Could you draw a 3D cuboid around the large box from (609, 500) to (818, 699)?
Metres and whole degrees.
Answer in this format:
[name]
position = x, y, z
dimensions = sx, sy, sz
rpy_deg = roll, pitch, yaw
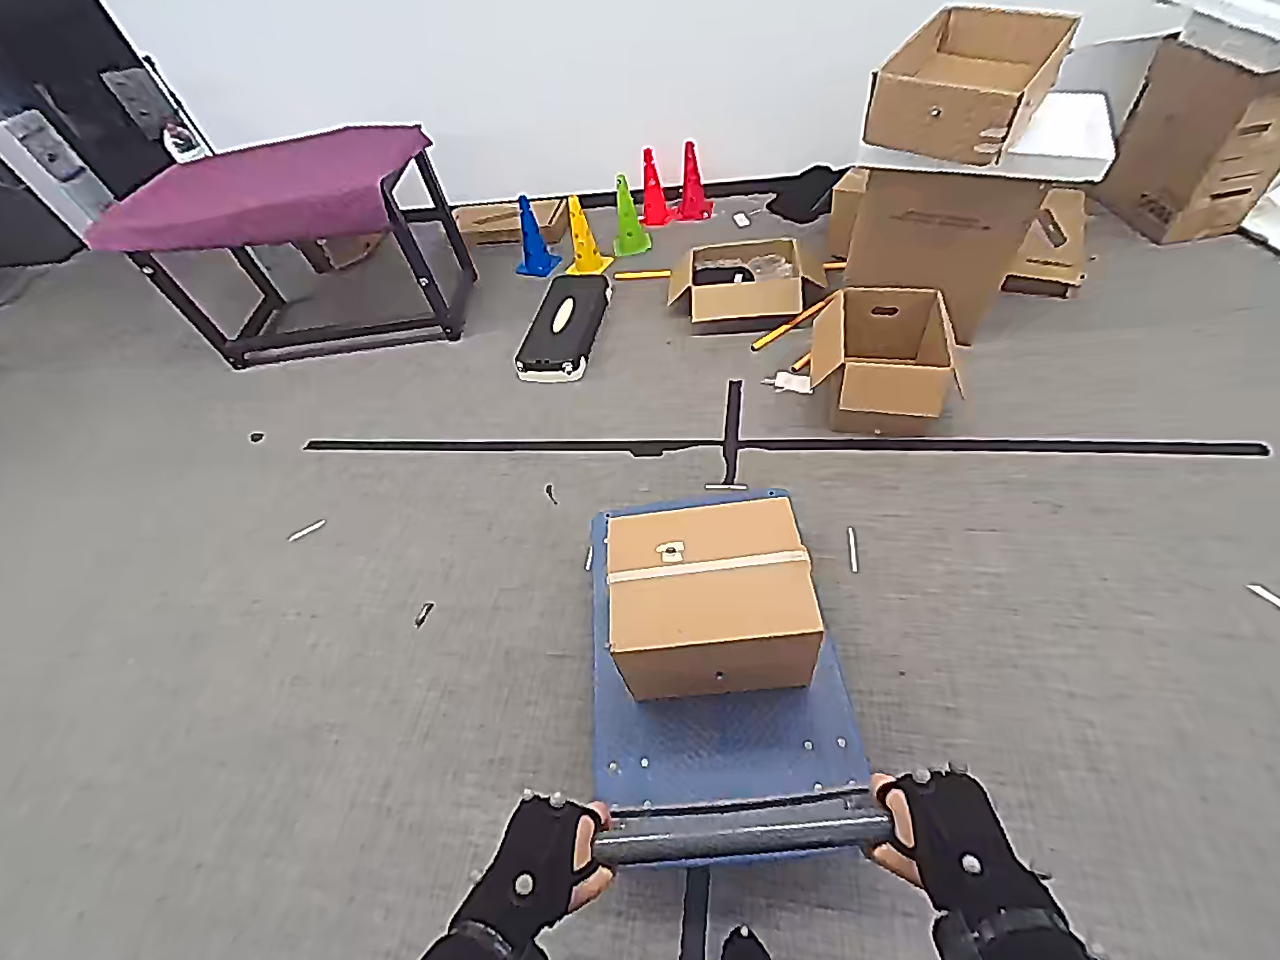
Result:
[large box]
position = 0.159, 0.284, 1.243
dimensions = 0.408, 0.320, 0.320
rpy_deg = -9, 50, 6
